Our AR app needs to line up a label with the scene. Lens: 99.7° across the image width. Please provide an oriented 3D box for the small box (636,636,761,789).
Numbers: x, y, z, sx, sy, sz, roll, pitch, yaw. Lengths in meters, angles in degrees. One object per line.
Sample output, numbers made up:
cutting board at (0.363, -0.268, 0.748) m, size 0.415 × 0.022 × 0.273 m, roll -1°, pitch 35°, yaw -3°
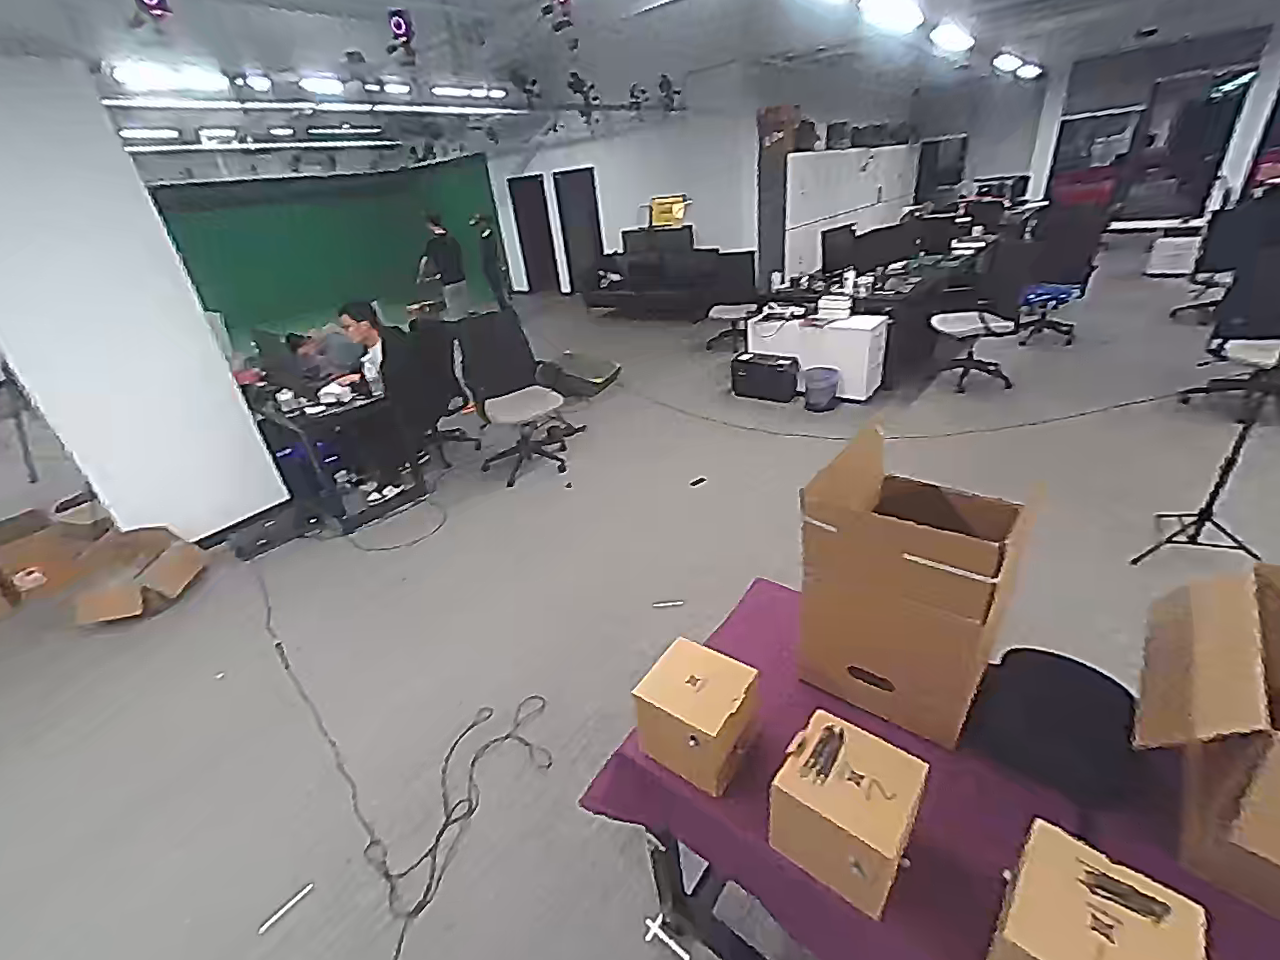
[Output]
small box at (0.113, 0.437, 1.021) m, size 0.179 × 0.176 × 0.168 m, roll 16°, pitch 36°, yaw 33°

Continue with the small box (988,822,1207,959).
small box at (0.545, 0.583, 0.660) m, size 0.168 × 0.176 × 0.179 m, roll 19°, pitch 38°, yaw 40°
